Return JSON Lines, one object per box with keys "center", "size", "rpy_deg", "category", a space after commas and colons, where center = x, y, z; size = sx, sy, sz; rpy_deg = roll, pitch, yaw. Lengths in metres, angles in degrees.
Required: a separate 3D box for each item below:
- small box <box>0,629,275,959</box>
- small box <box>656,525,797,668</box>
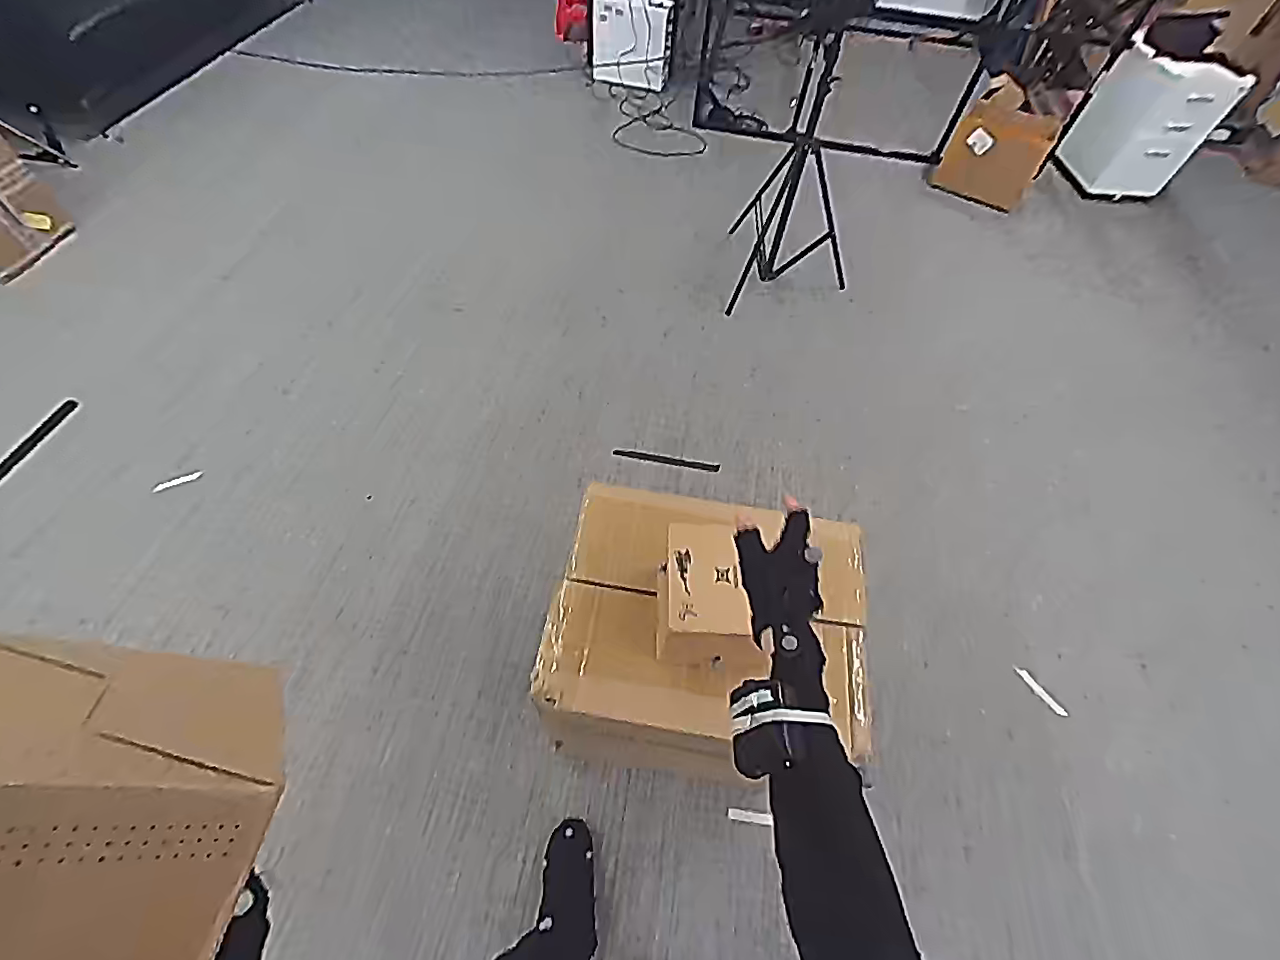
{"center": [-0.314, 0.189, 0.278], "size": [0.179, 0.168, 0.176], "rpy_deg": [24, 79, -33], "category": "small box"}
{"center": [0.121, 0.184, 0.830], "size": [0.179, 0.176, 0.168], "rpy_deg": [3, 57, -2], "category": "small box"}
